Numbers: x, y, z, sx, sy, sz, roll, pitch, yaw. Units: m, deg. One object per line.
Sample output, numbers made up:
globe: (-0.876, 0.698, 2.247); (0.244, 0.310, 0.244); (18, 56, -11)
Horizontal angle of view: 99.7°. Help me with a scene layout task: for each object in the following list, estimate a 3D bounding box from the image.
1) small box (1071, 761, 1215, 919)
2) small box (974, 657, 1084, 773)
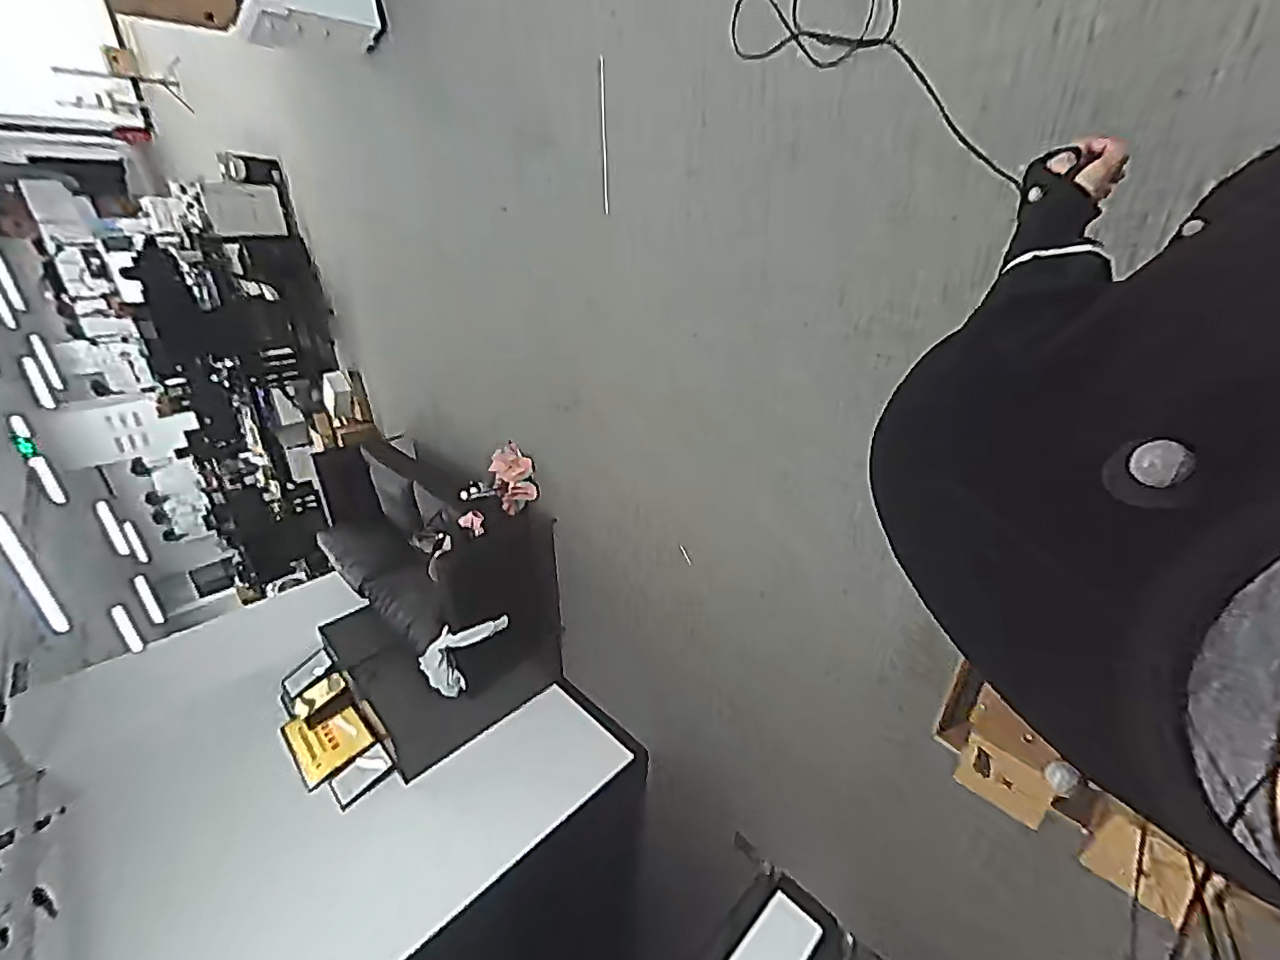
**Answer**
small box: (1.042, 0.735, 1.119); (0.168, 0.176, 0.179); (28, 127, 38)
small box: (0.989, 0.584, 1.371); (0.179, 0.176, 0.168); (23, 123, 38)
